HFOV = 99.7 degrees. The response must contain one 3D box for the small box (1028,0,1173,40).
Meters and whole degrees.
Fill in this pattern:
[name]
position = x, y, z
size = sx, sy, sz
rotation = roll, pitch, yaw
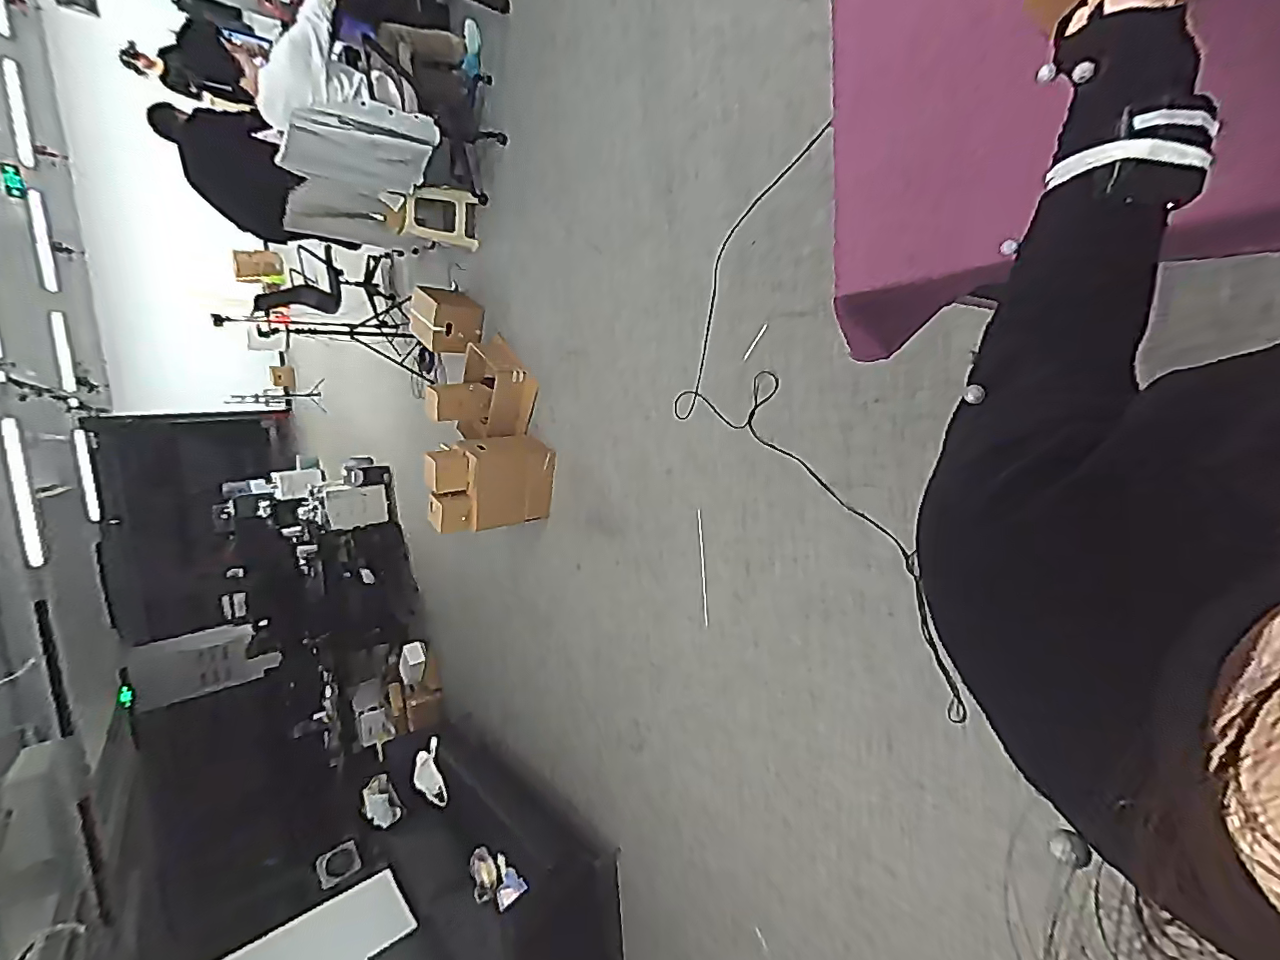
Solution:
[small box]
position = 0.418, -0.515, 0.439
size = 0.168, 0.176, 0.179
rotation = 12, 110, 47
